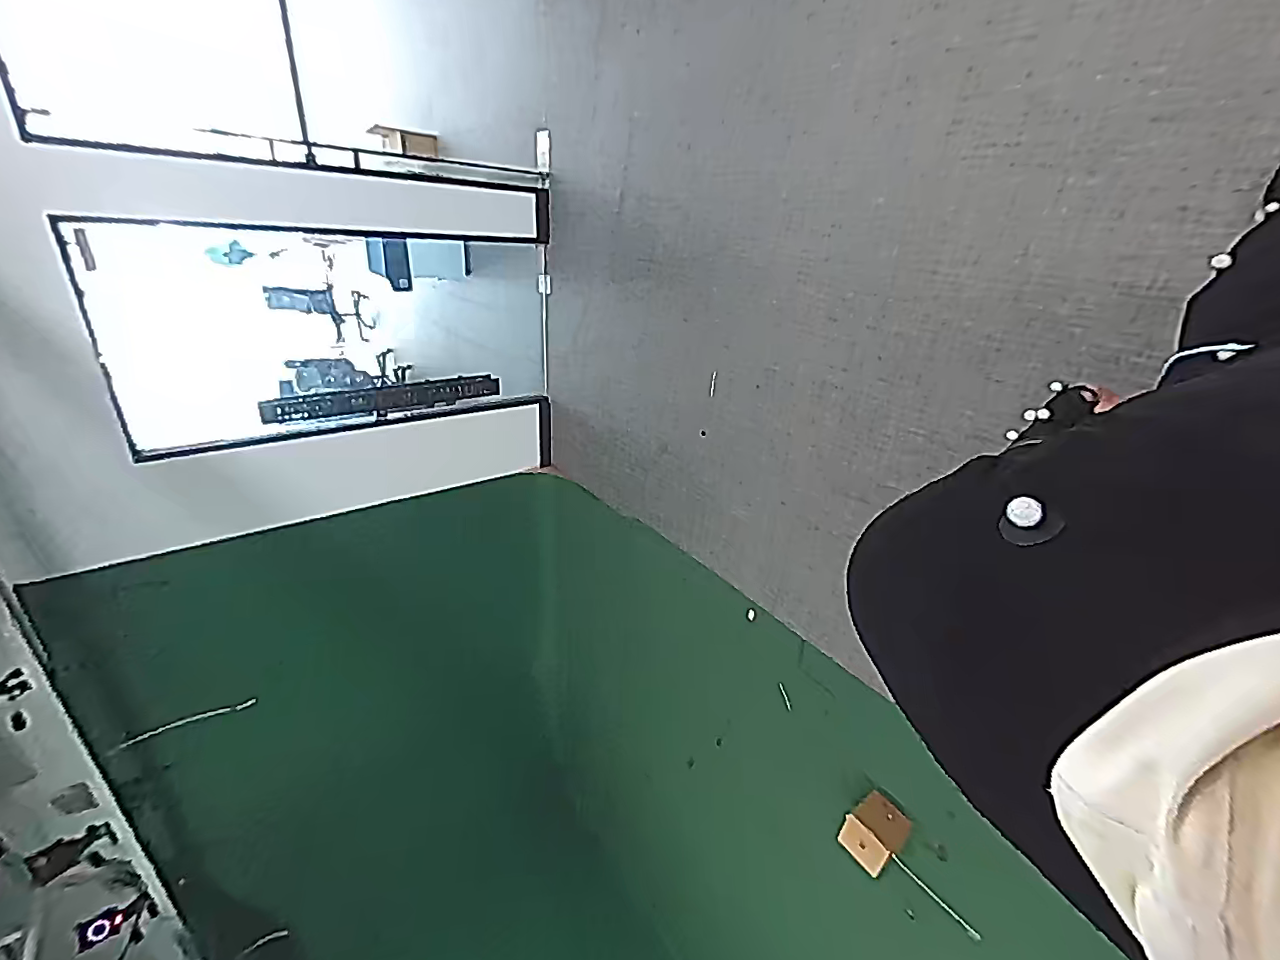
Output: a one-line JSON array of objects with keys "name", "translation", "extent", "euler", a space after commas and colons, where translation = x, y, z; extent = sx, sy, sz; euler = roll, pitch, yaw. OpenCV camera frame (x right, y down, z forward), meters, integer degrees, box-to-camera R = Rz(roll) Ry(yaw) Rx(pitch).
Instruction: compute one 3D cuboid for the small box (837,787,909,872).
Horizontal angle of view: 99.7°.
[{"name": "small box", "translation": [0.875, 1.305, 2.026], "extent": [0.168, 0.176, 0.179], "euler": [36, 129, 42]}]
